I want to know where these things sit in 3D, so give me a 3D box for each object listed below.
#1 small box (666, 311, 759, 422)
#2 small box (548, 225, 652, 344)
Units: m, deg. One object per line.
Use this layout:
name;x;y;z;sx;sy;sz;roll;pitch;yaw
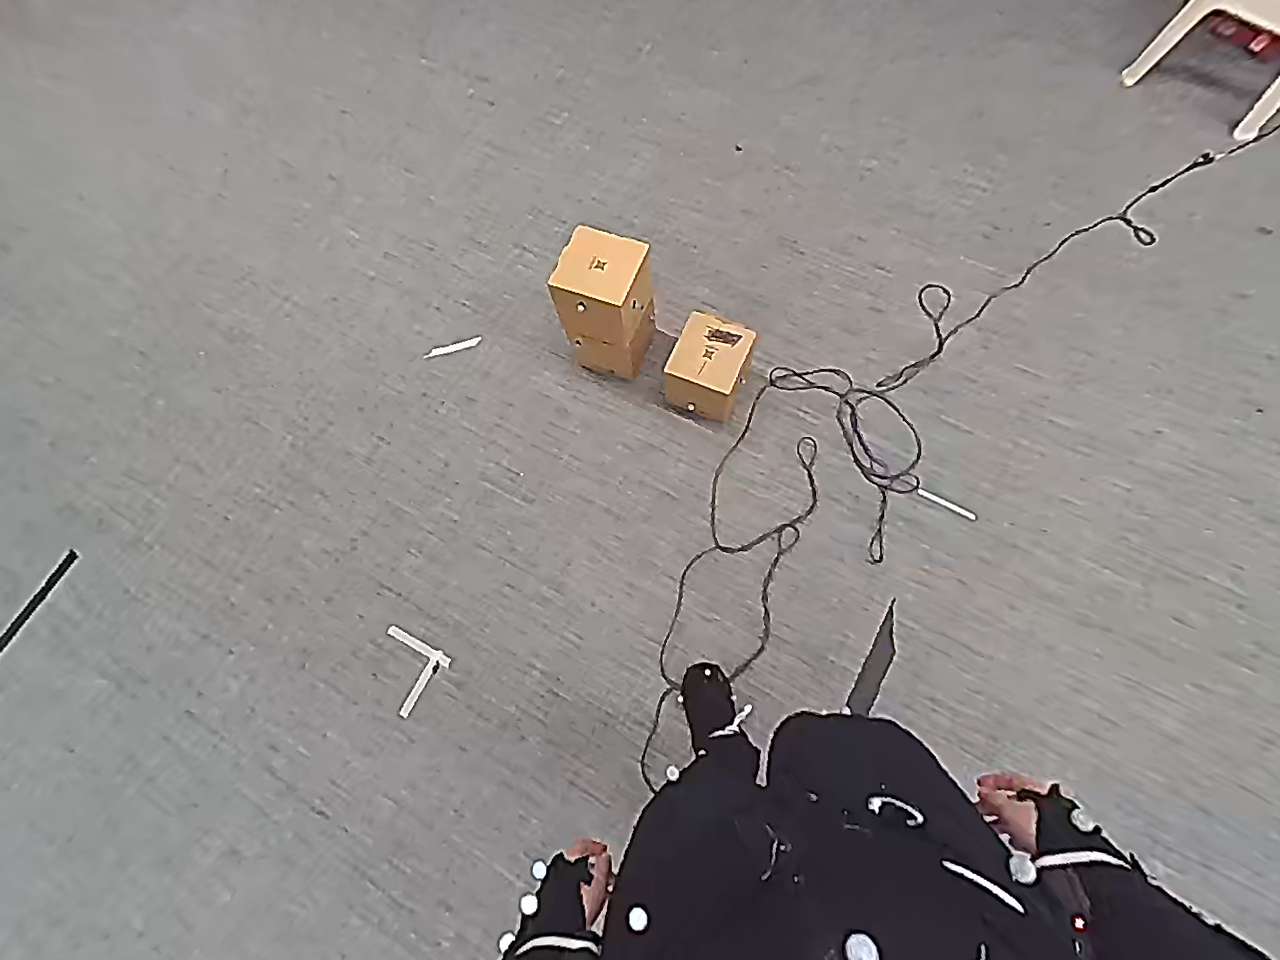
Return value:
small box;0.173;-0.271;1.321;0.168;0.176;0.179;23;76;12
small box;-0.080;-0.433;1.223;0.179;0.176;0.168;20;75;11
